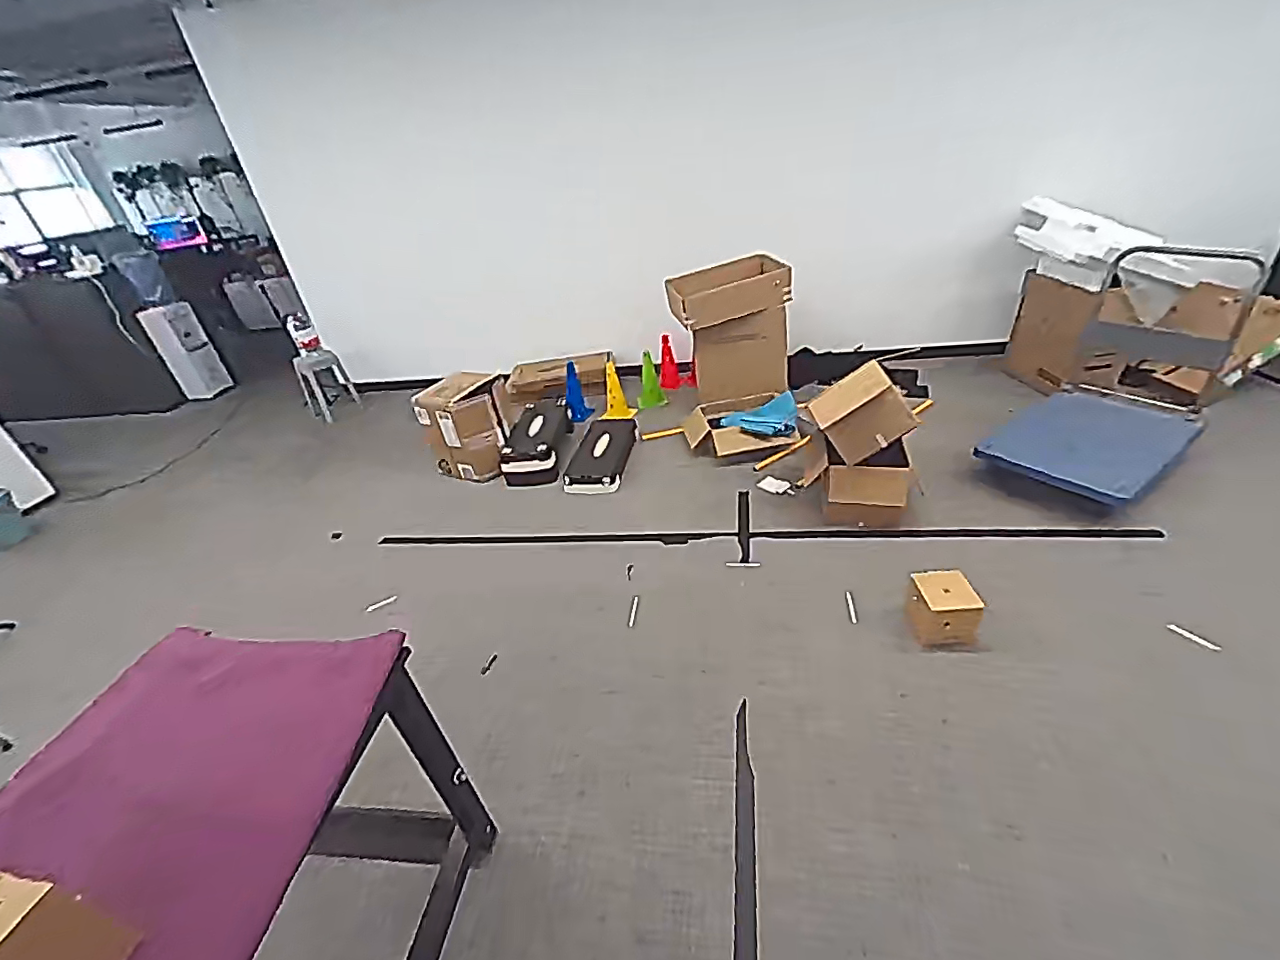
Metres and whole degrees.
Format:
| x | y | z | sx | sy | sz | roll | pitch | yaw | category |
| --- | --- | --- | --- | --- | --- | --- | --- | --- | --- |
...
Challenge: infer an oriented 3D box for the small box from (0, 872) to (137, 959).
| x | y | z | sx | sy | sz | roll | pitch | yaw | category |
| --- | --- | --- | --- | --- | --- | --- | --- | --- | --- |
| -0.748 | 0.578 | 0.609 | 0.168 | 0.176 | 0.179 | 0 | 33 | 12 | small box |

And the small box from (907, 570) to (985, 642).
| x | y | z | sx | sy | sz | roll | pitch | yaw | category |
| --- | --- | --- | --- | --- | --- | --- | --- | --- | --- |
| 1.020 | 0.427 | 1.816 | 0.168 | 0.176 | 0.179 | -5 | 32 | 5 | small box |
